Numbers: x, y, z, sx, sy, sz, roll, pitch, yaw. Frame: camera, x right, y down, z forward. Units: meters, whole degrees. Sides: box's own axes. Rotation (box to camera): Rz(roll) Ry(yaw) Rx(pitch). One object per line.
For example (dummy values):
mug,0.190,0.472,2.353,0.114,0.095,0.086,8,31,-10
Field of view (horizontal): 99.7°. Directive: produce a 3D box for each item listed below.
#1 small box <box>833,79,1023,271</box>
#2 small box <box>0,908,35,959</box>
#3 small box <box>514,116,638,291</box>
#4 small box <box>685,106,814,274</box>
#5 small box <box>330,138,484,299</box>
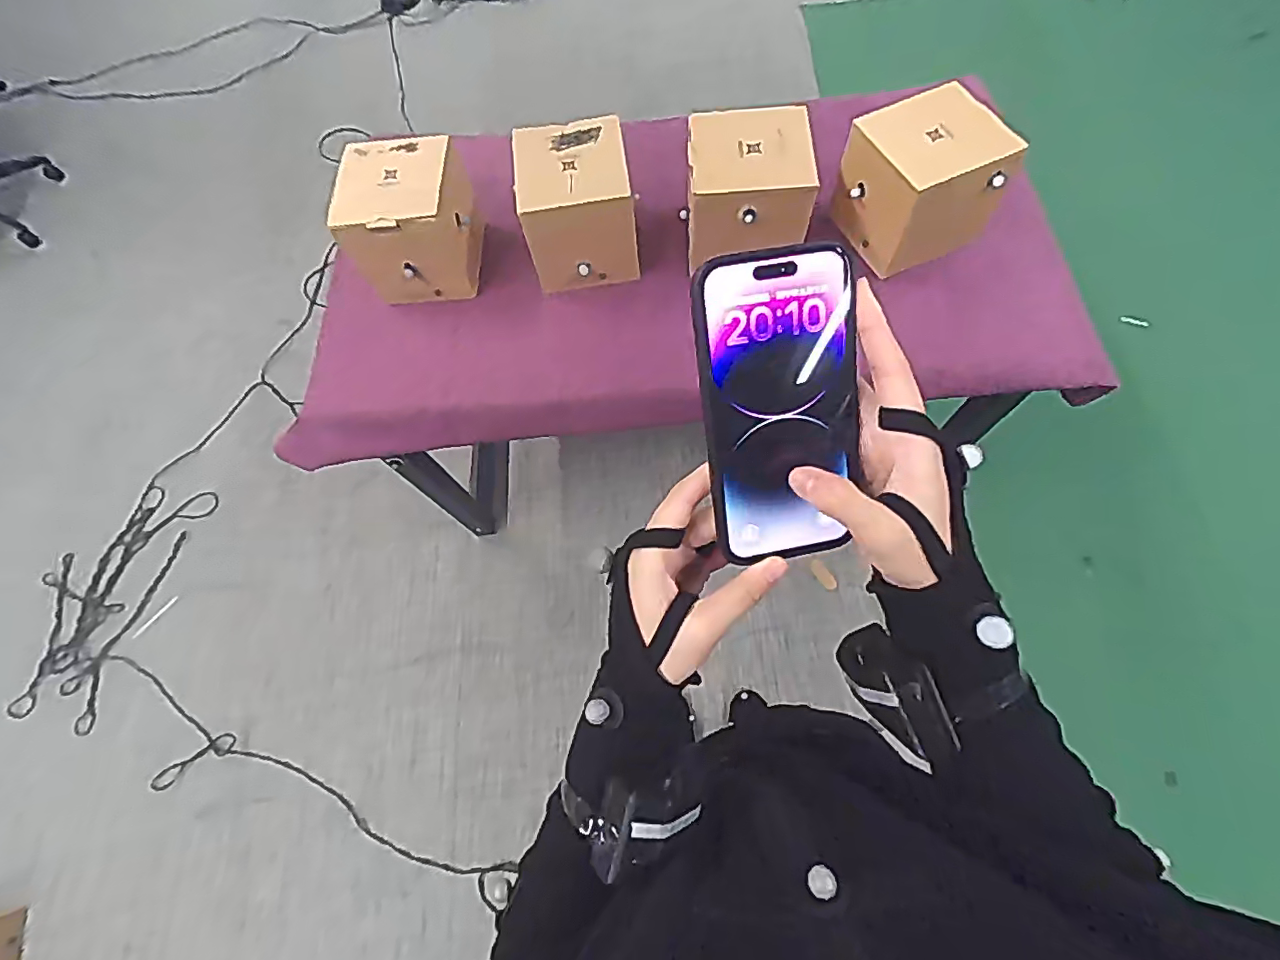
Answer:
small box,0.418,-0.457,0.829,0.179,0.176,0.168,-24,67,-5
small box,-1.481,1.058,1.160,0.179,0.176,0.168,-13,68,0
small box,-0.098,-0.434,0.866,0.168,0.176,0.179,-8,68,2
small box,0.161,-0.445,0.848,0.179,0.176,0.168,-1,68,4
small box,-0.365,-0.413,0.881,0.168,0.176,0.179,-3,68,3
